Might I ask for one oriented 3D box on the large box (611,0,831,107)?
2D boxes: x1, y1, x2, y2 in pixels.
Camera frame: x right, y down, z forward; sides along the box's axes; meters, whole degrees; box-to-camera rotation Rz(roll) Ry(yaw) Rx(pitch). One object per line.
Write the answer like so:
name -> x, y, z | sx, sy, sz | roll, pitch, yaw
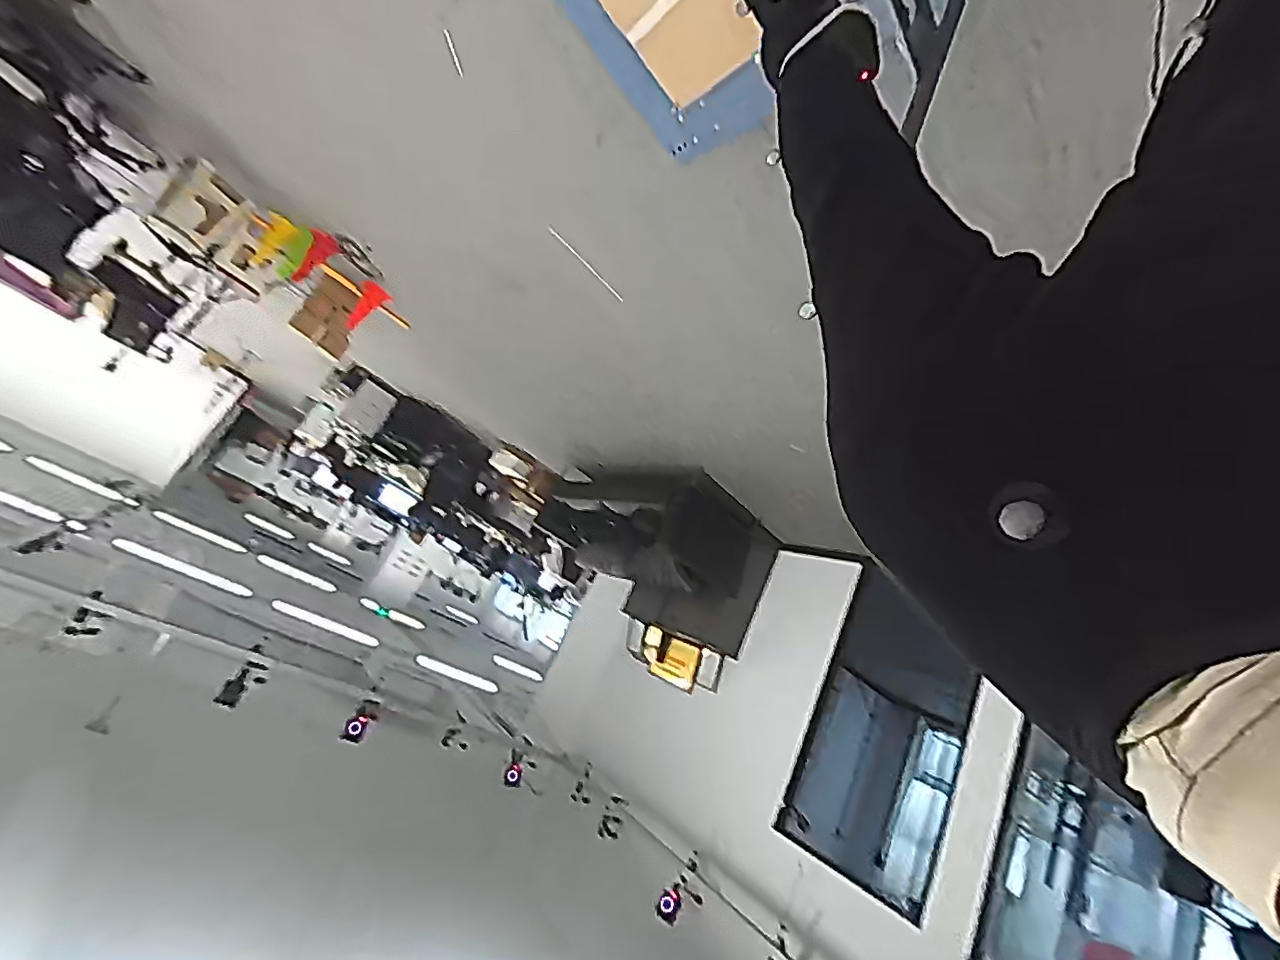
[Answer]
large box -> 0.181, -0.959, 0.908 | 0.320, 0.320, 0.408 | 39, 159, -32
